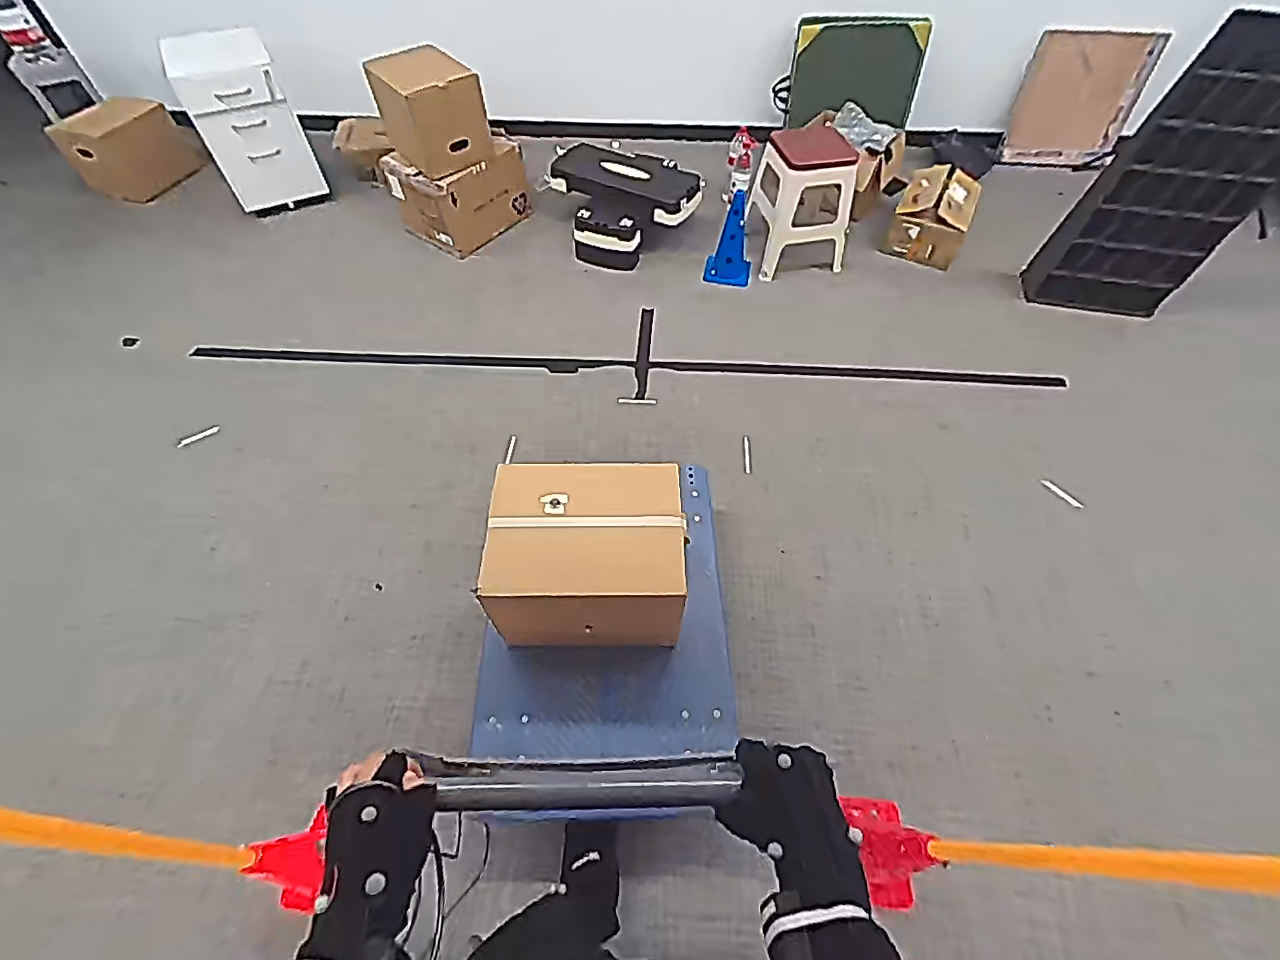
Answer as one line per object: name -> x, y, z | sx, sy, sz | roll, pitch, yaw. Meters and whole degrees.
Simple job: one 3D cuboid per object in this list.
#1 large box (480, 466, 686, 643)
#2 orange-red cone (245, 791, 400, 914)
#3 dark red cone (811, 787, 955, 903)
large box -> -0.111, 0.180, 1.243 | 0.408, 0.320, 0.320 | 0, 56, 0
orange-red cone -> -0.647, 0.709, 1.044 | 0.198, 0.360, 0.199 | 10, 54, 6
dark red cone -> 0.487, 0.696, 1.042 | 0.201, 0.394, 0.202 | 5, 55, 0
